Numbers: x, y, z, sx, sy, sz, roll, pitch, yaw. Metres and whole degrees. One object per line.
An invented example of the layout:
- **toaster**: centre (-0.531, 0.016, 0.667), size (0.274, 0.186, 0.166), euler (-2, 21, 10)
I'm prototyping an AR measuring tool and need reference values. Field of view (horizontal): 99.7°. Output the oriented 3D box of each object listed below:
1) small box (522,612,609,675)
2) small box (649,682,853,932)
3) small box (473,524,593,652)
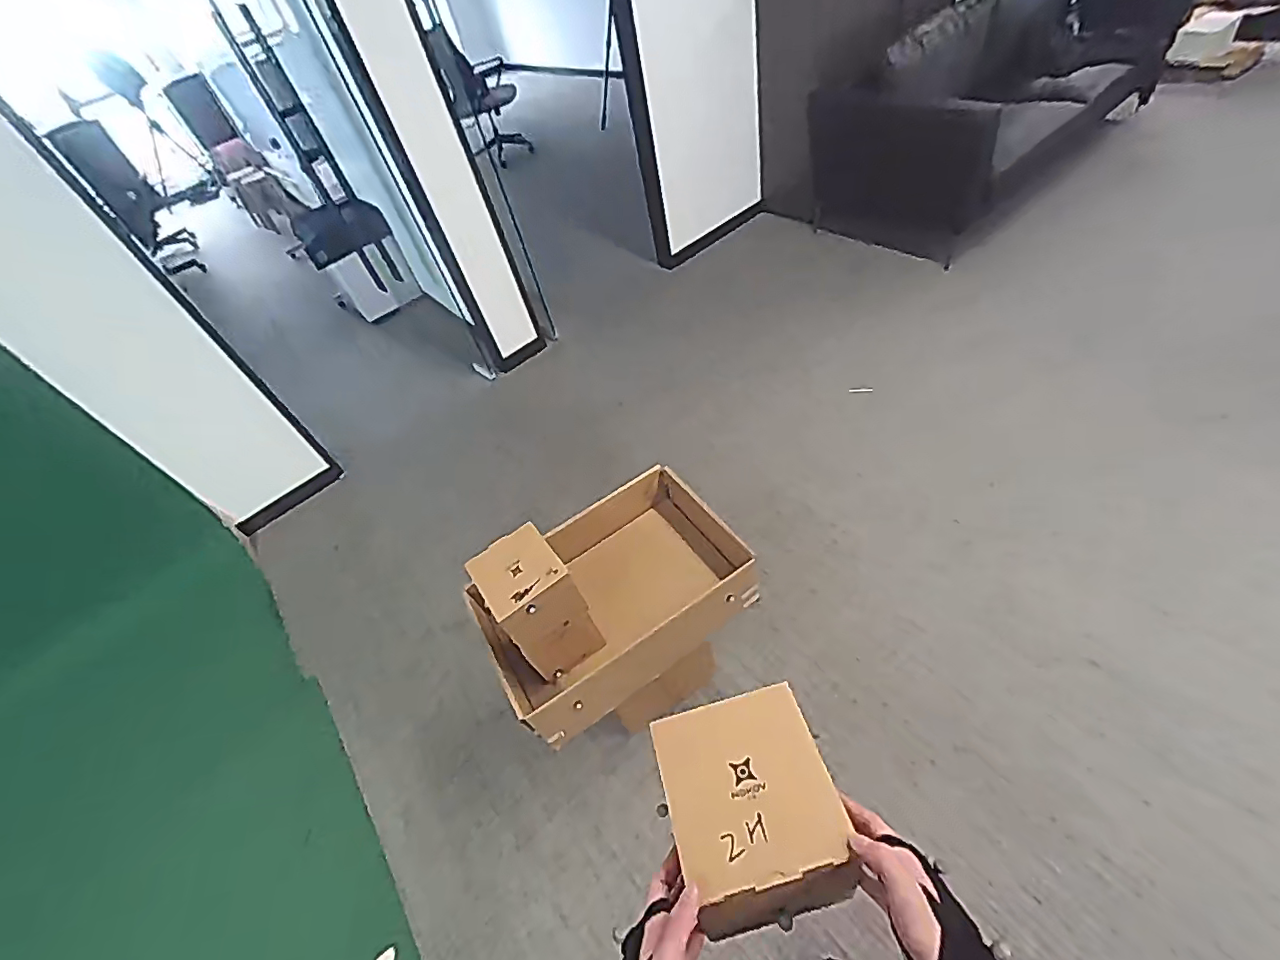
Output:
- **small box**: centre (-0.196, 0.340, 1.291), size (0.168, 0.176, 0.179), euler (-33, 49, -12)
- **small box**: centre (0.119, 0.366, 0.609), size (0.168, 0.176, 0.179), euler (-17, 41, 0)
- **small box**: centre (-0.227, 0.236, 1.168), size (0.168, 0.176, 0.179), euler (-35, 50, -13)
